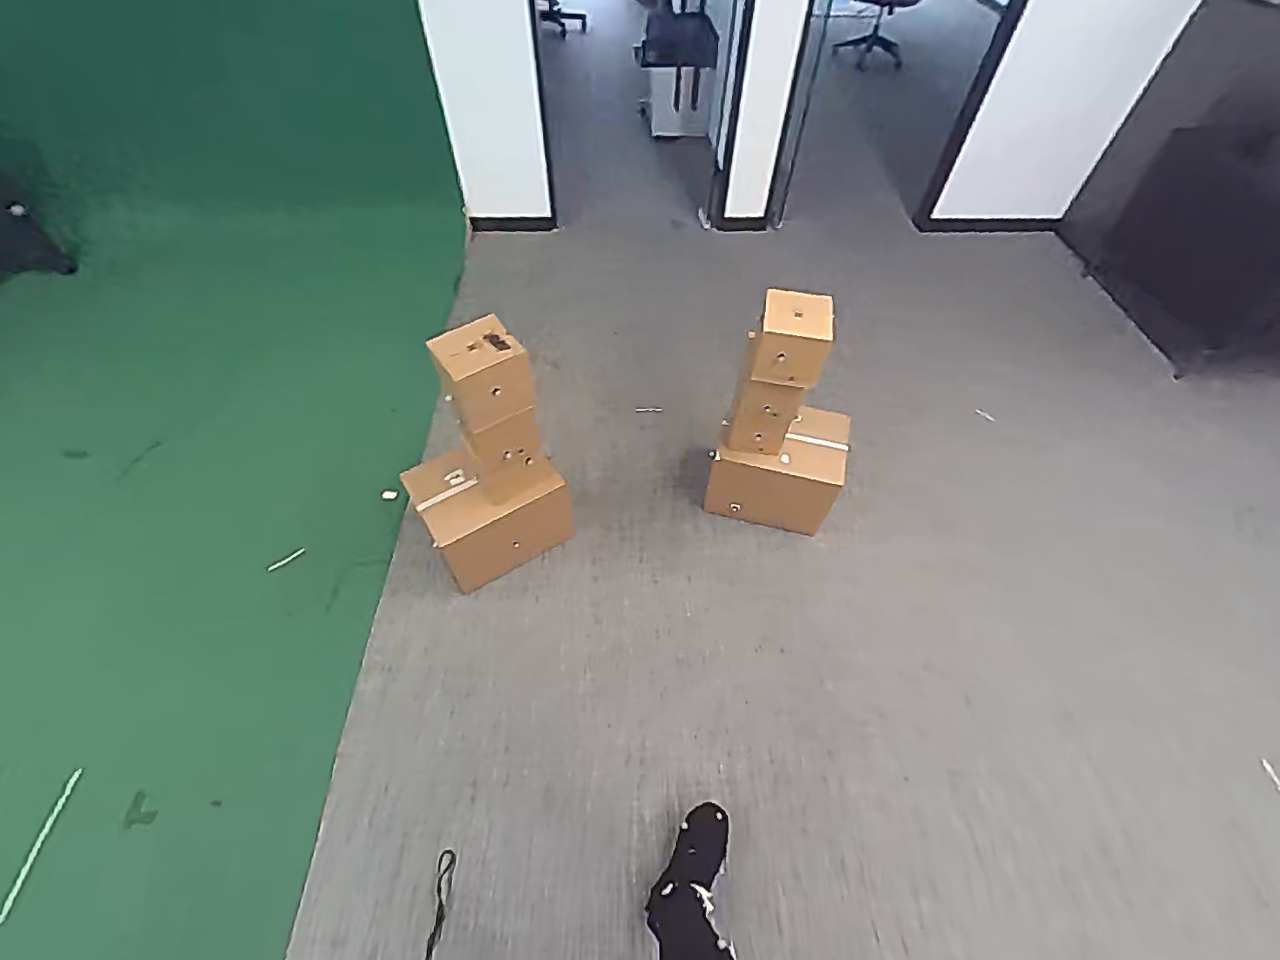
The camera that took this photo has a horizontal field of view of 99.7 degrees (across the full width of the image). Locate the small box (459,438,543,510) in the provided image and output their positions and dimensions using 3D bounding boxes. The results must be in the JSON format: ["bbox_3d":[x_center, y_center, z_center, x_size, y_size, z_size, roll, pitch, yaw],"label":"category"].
[{"bbox_3d":[-0.393,-0.048,1.558,0.179,0.176,0.168,-29,58,-22],"label":"small box"}]

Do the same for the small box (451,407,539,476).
[{"bbox_3d":[-0.383,-0.143,1.426,0.168,0.176,0.179,-28,59,-20],"label":"small box"}]

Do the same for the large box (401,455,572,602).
[{"bbox_3d":[-0.476,0.115,1.741,0.408,0.320,0.320,-29,57,-21],"label":"large box"}]

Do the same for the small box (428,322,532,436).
[{"bbox_3d":[-0.374,-0.240,1.295,0.179,0.176,0.168,-30,59,-20],"label":"small box"}]

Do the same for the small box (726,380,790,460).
[{"bbox_3d":[0.366,-0.184,1.689,0.168,0.176,0.179,8,54,3],"label":"small box"}]

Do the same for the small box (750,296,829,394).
[{"bbox_3d":[0.385,-0.347,1.404,0.168,0.176,0.179,9,53,5],"label":"small box"}]
